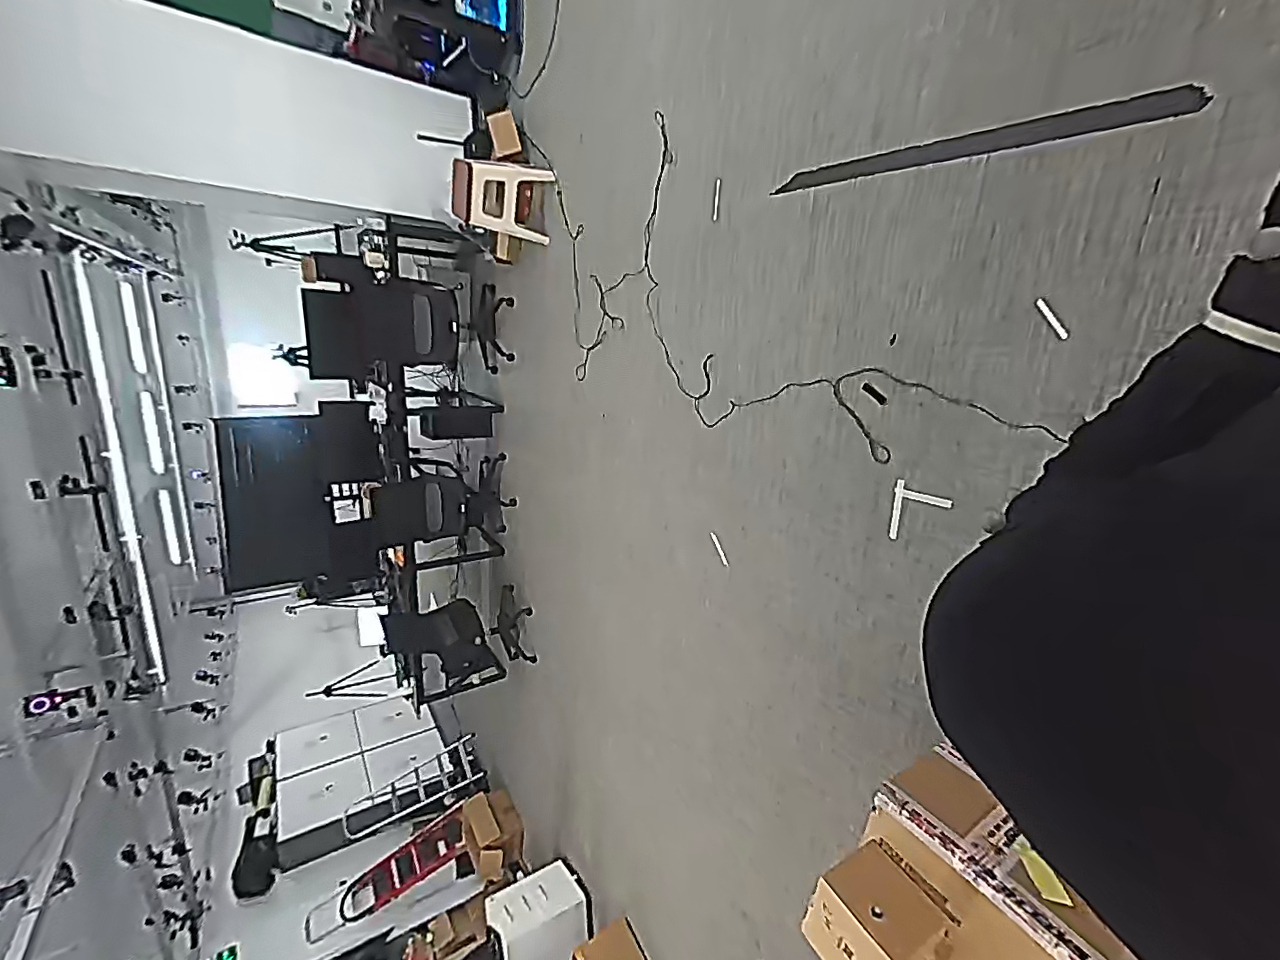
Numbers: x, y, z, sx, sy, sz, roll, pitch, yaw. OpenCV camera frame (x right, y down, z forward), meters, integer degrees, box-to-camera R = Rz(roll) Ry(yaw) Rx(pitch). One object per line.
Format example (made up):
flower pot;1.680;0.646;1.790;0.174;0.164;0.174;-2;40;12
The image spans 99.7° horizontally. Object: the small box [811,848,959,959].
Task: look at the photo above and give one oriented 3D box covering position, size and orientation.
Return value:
small box;0.468;0.863;1.038;0.179;0.176;0.168;36;123;51
